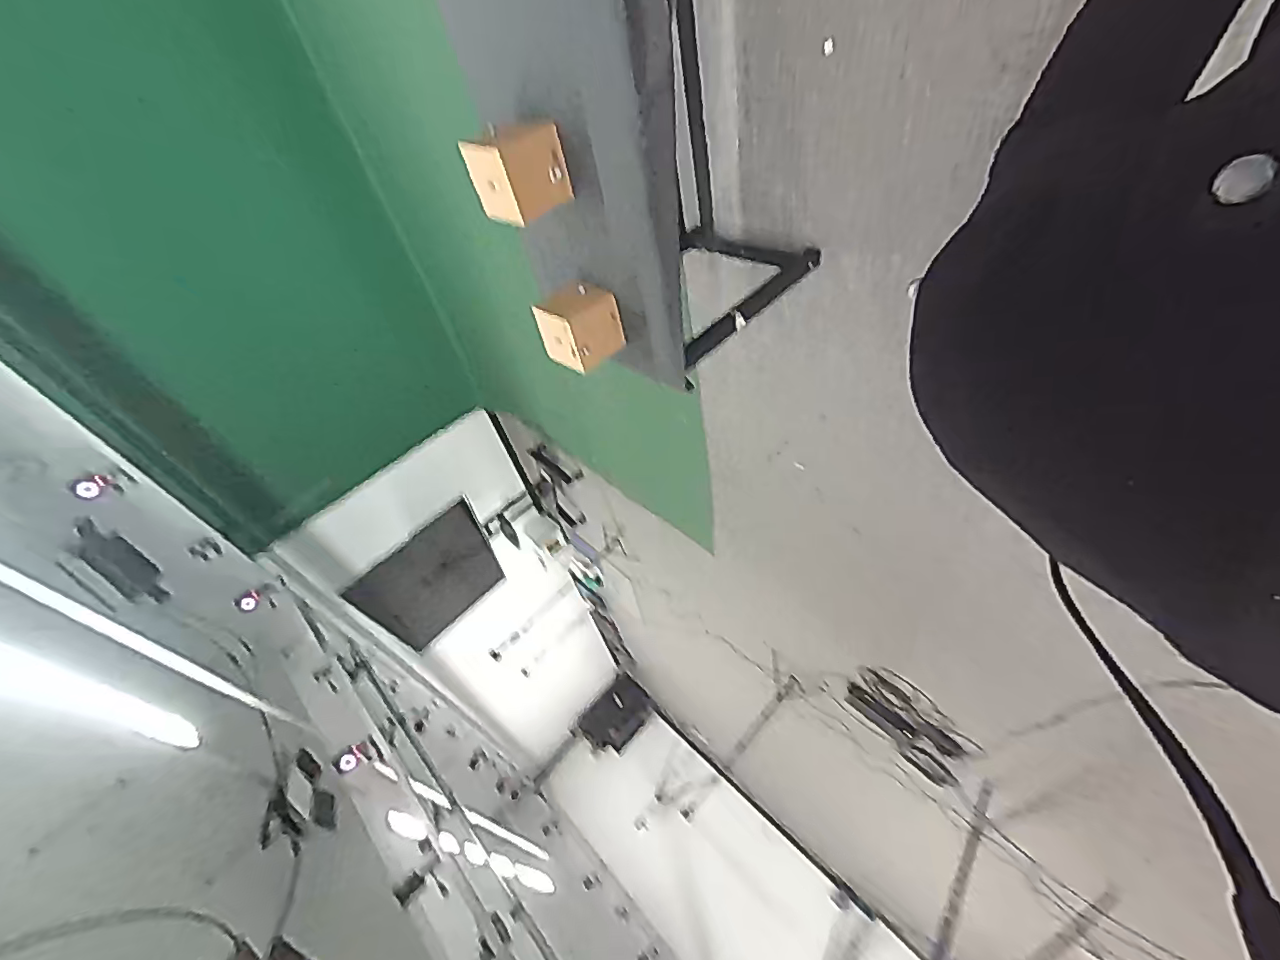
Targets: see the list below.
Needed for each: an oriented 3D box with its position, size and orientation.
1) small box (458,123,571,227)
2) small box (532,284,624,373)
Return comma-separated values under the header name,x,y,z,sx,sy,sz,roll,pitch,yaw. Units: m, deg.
name,x,y,z,sx,sy,sz,roll,pitch,yaw
small box,-0.297,-0.738,1.302,0.179,0.176,0.168,29,152,36
small box,-0.174,-0.440,1.552,0.179,0.176,0.168,32,153,37
